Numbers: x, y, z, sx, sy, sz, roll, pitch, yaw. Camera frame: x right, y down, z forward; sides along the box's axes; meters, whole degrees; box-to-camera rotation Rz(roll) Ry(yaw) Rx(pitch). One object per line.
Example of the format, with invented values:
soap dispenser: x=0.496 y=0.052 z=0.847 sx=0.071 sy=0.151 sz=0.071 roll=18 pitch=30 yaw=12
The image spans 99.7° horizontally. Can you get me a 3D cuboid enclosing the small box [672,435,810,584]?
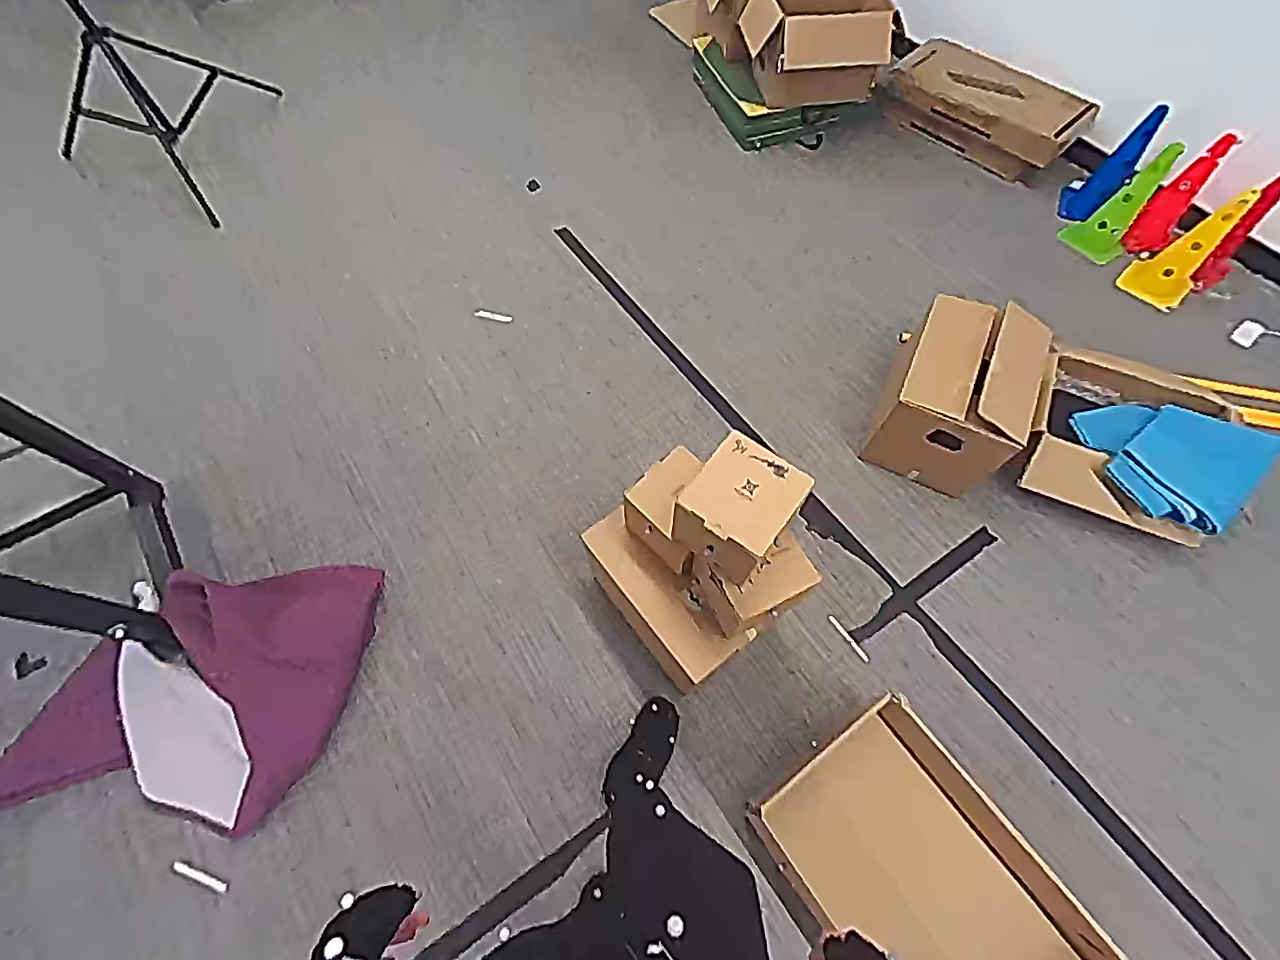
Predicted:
small box: x=0.172 y=0.060 z=0.964 sx=0.168 sy=0.176 sz=0.179 roll=35 pitch=69 yaw=17

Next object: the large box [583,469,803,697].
large box: x=0.109 y=0.257 z=1.321 sx=0.320 sy=0.320 sz=0.408 roll=-36 pitch=69 yaw=-15
